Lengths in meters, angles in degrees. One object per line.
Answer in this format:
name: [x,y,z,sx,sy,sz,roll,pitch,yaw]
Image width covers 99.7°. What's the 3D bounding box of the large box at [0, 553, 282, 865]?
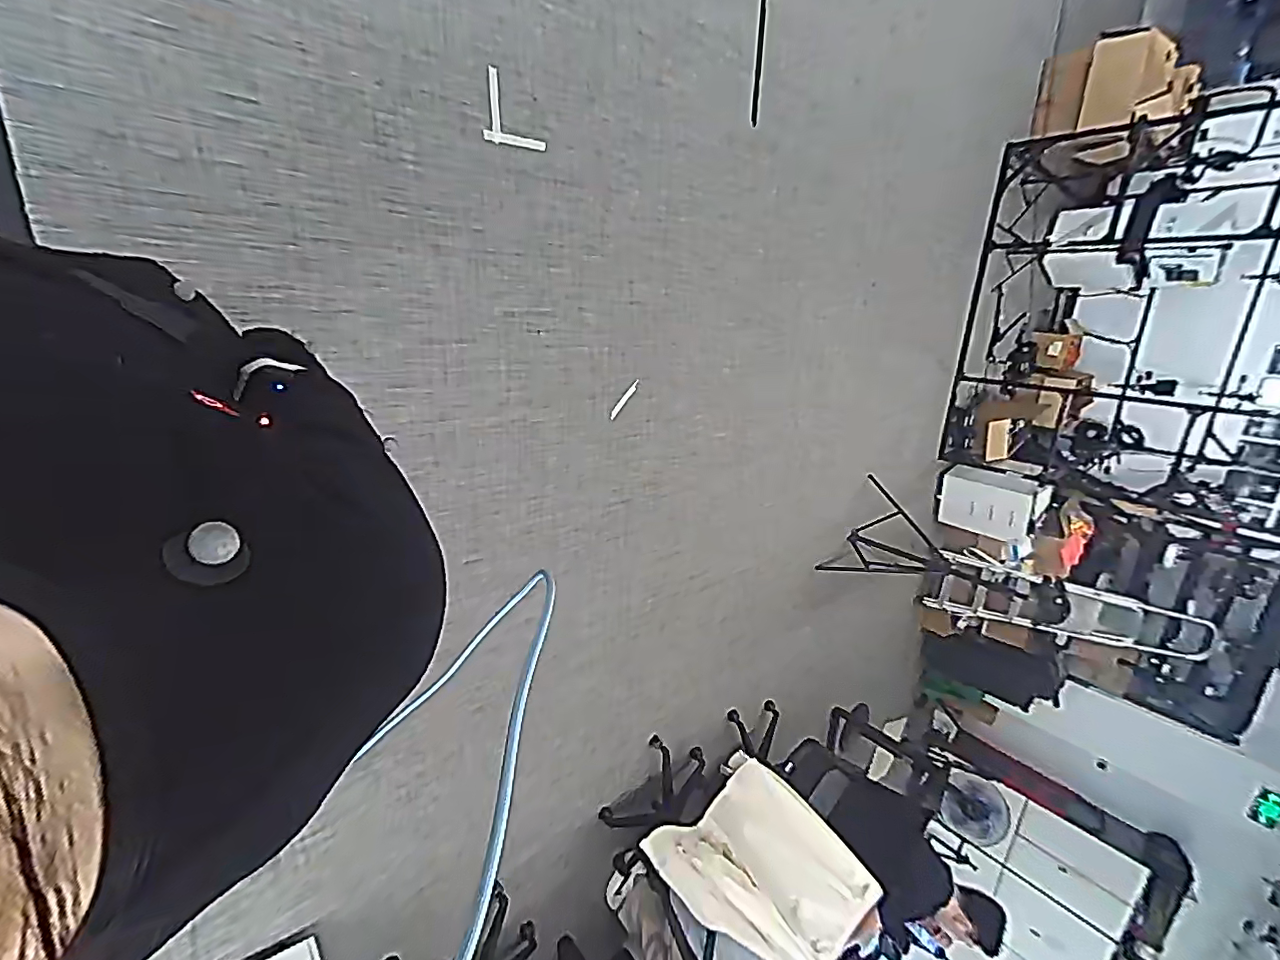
large box: [-0.955,0.375,1.002,0.408,0.320,0.320,-16,116,-39]
